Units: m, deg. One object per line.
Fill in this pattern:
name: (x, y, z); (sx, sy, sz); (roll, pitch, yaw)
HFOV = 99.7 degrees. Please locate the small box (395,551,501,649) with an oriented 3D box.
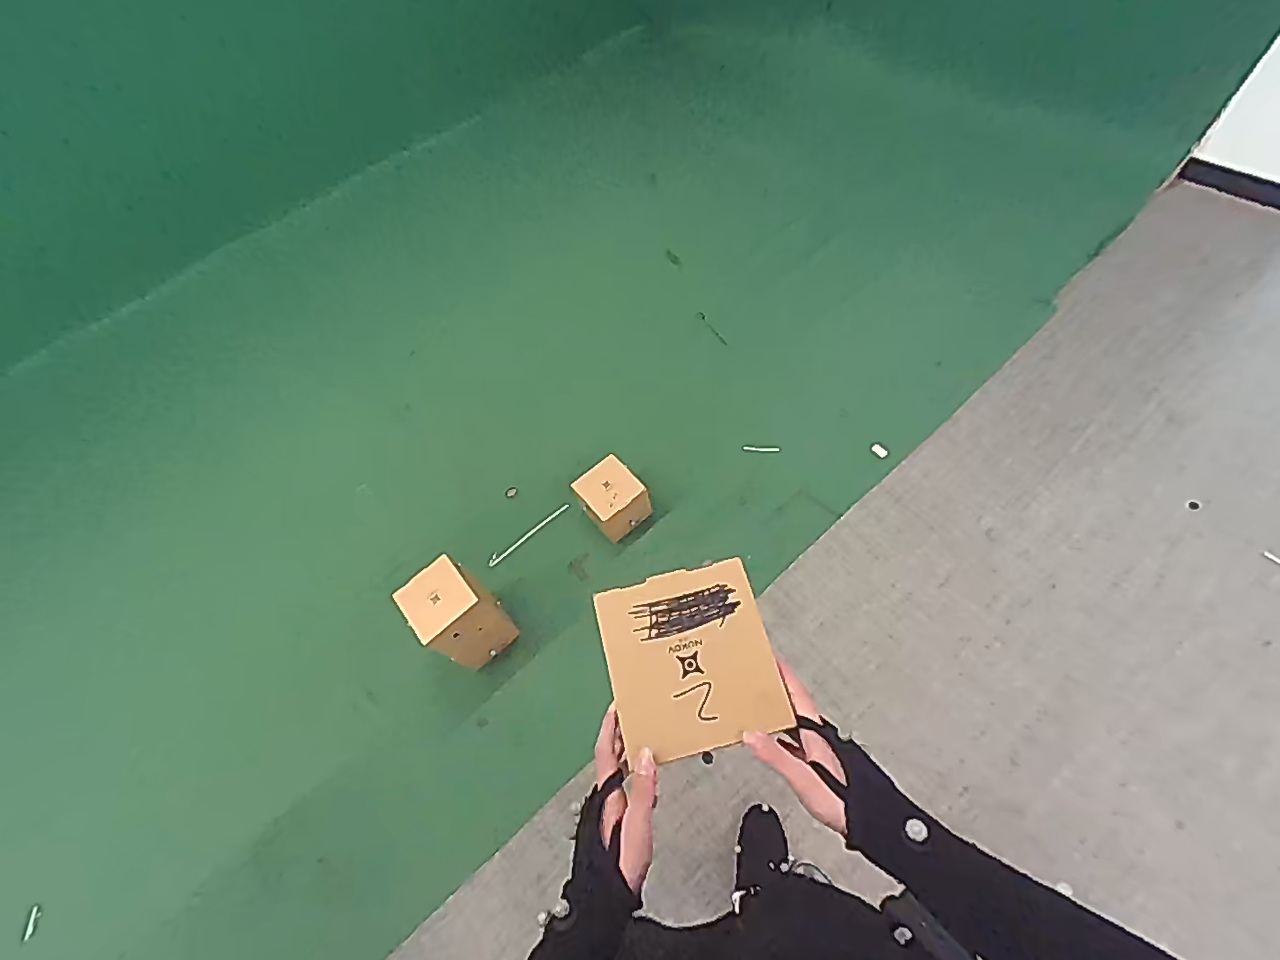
small box: (-0.499, 0.325, 1.428); (0.168, 0.176, 0.179); (-41, 62, -13)

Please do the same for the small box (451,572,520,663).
small box: (-0.479, 0.404, 1.567); (0.168, 0.176, 0.179); (-40, 63, -13)

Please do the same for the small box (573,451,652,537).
small box: (-0.083, 0.050, 1.703); (0.168, 0.176, 0.179); (-38, 63, -13)
